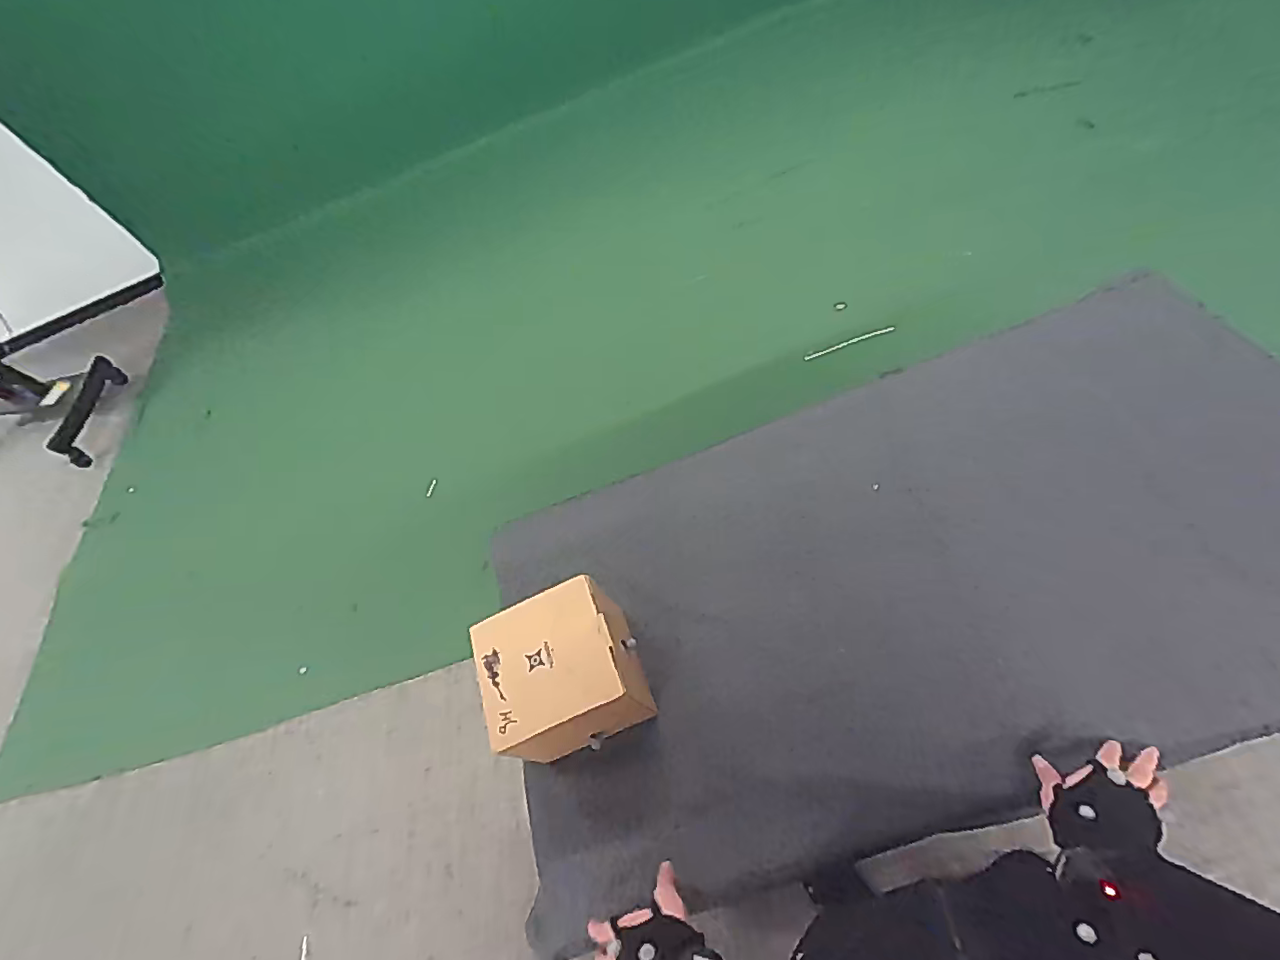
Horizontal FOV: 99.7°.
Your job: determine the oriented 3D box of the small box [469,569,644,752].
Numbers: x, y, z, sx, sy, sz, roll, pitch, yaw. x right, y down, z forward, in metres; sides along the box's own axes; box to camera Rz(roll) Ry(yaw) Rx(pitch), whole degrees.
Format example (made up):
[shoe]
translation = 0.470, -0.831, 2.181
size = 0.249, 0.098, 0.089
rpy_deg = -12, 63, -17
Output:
[small box]
translation = -0.104, 0.251, 0.737
size = 0.179, 0.176, 0.168
rpy_deg = -24, 56, 1
